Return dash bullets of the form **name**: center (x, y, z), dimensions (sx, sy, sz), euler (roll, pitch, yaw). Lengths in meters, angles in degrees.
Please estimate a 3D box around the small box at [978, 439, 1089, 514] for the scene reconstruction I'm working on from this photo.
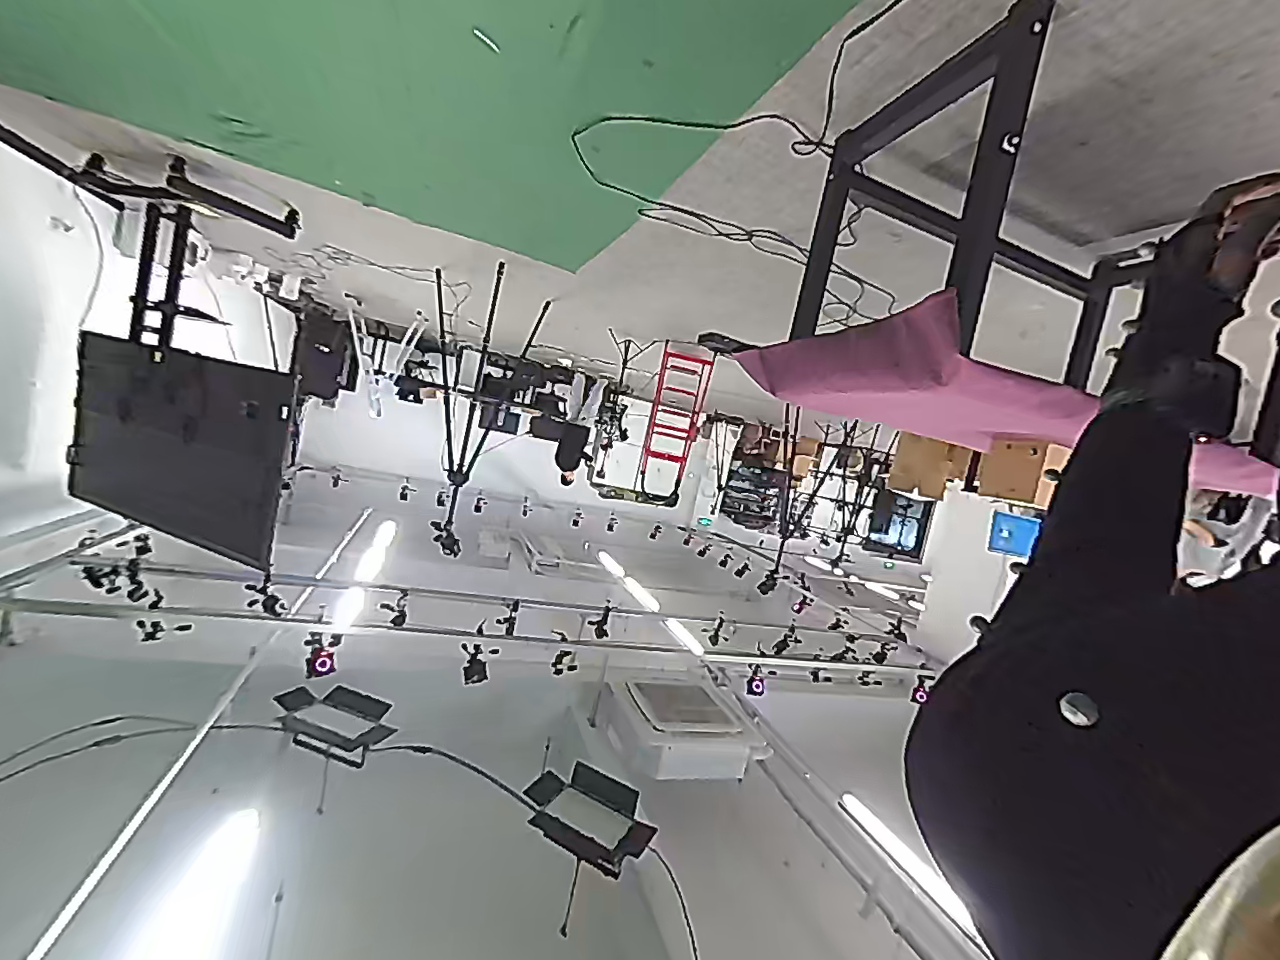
- **small box**: center (1.081, -0.014, 1.488), dimensions (0.179, 0.176, 0.168), euler (10, -176, -19)
